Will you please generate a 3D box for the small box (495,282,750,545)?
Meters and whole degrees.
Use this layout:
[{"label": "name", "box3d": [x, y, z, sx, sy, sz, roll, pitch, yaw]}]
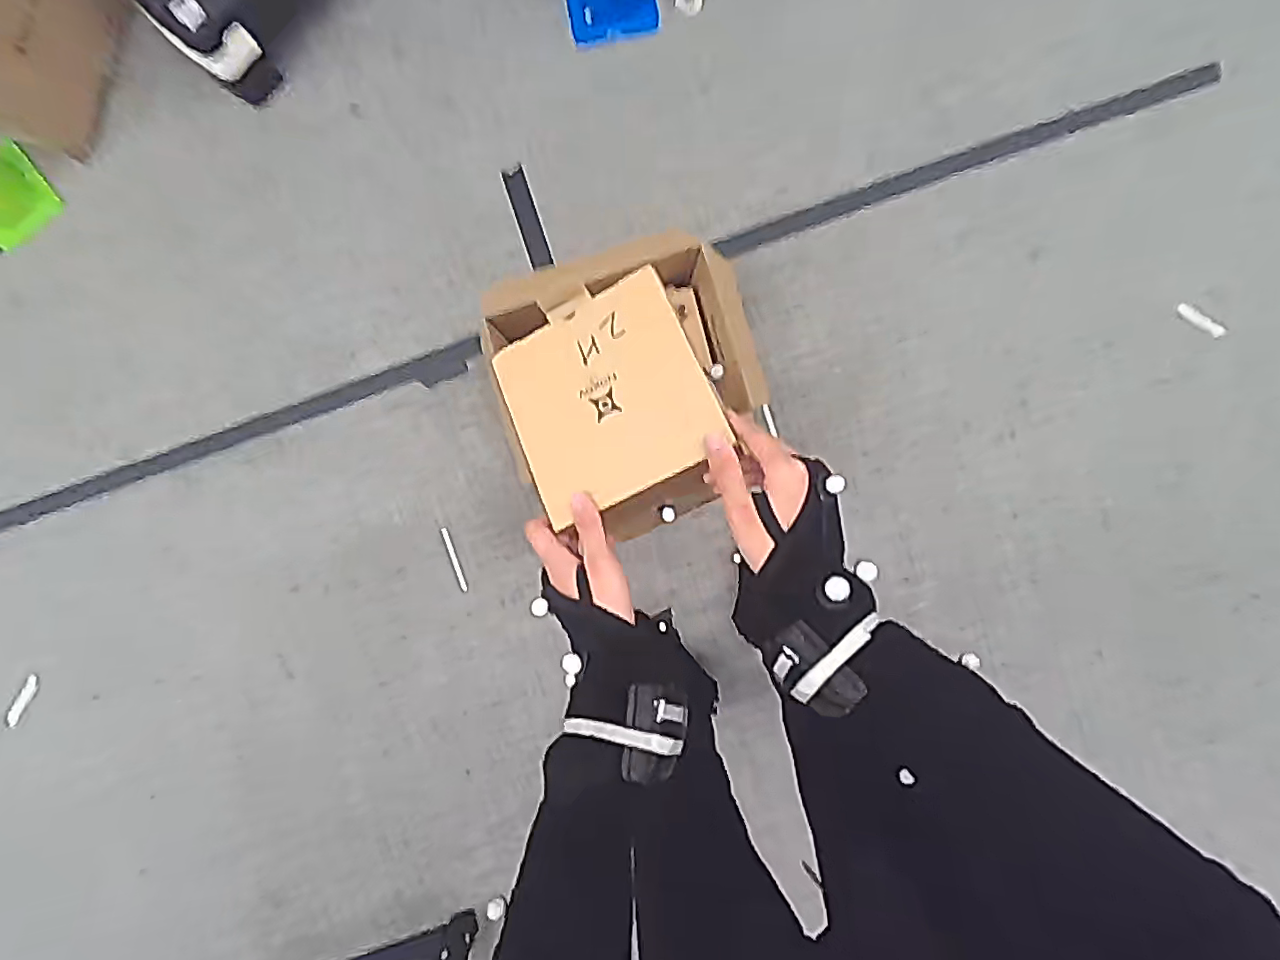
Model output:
[{"label": "small box", "box3d": [-0.005, -0.046, 0.523, 0.168, 0.176, 0.179, -26, 74, 11]}]
